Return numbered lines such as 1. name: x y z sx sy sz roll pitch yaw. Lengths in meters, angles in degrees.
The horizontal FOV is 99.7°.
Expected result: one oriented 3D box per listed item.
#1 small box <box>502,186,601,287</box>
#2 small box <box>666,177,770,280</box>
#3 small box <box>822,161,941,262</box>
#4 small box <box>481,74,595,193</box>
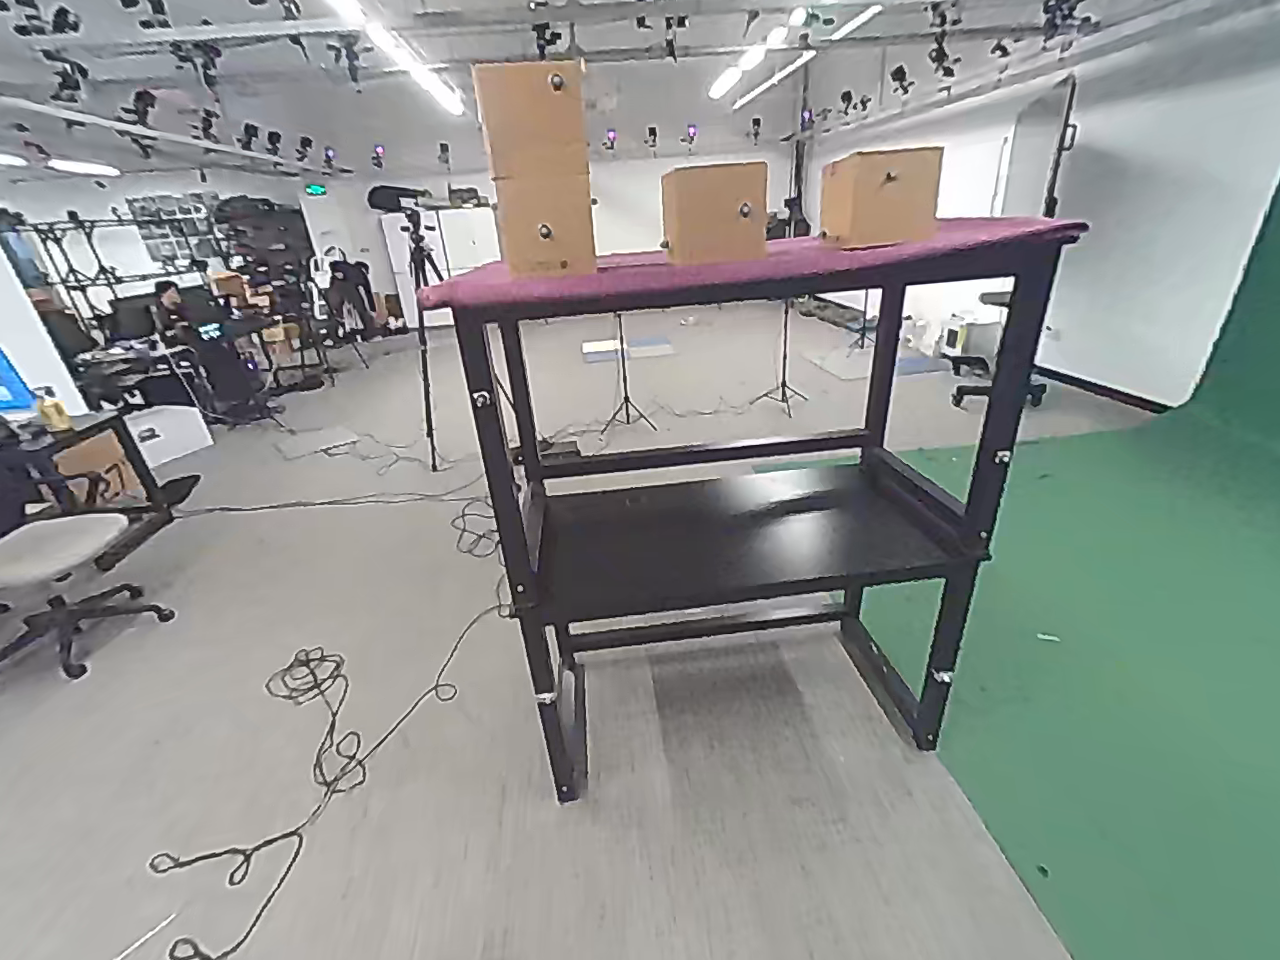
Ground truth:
1. small box: -0.167 -0.474 1.064 0.168 0.176 0.179 -5 25 -5
2. small box: 0.152 -0.506 1.093 0.179 0.176 0.168 -7 24 -4
3. small box: 0.495 -0.553 1.135 0.179 0.176 0.168 -5 23 -2
4. small box: -0.181 -0.620 0.993 0.179 0.176 0.168 -6 26 -7
